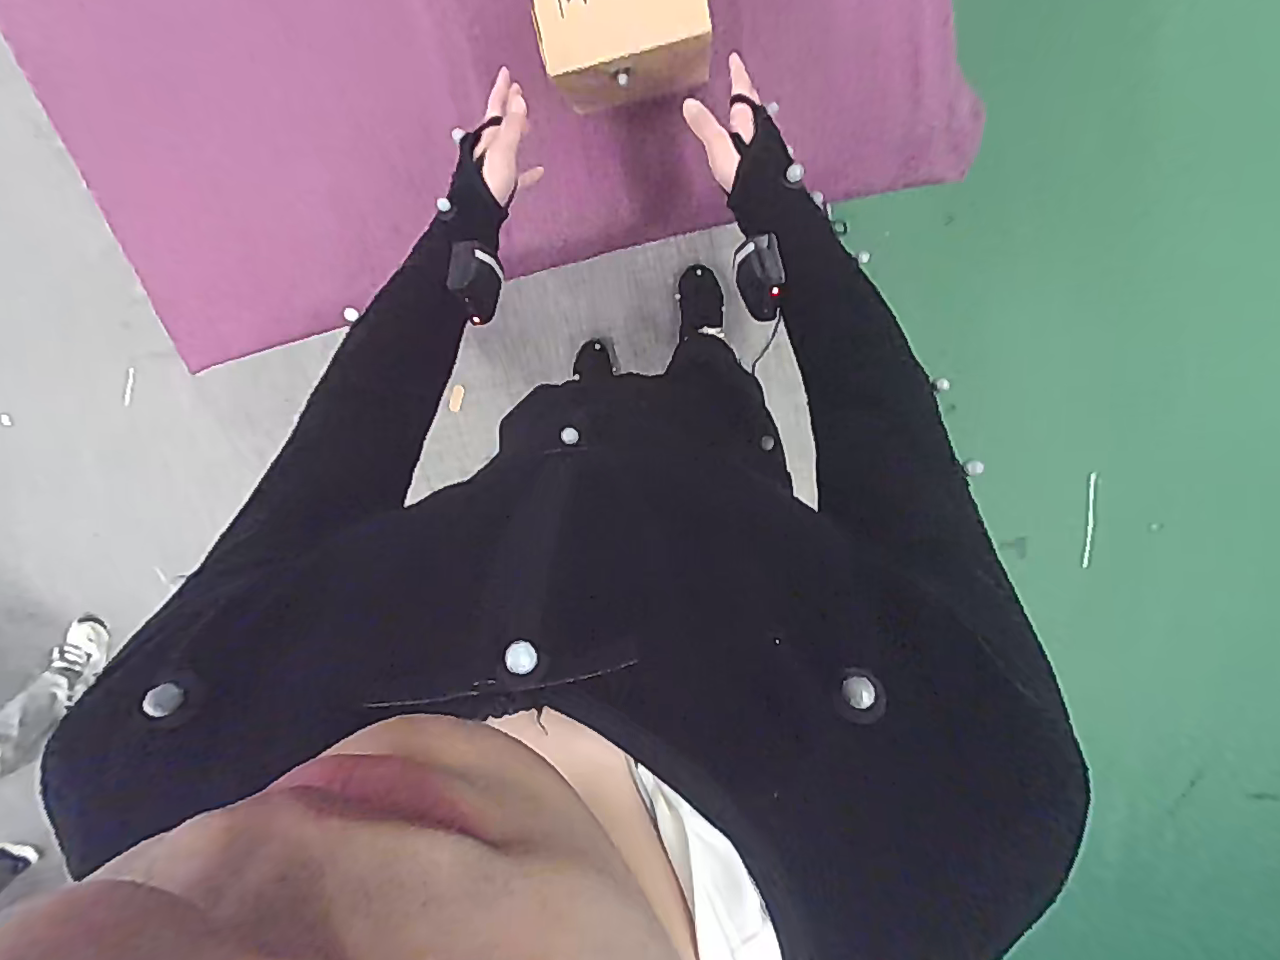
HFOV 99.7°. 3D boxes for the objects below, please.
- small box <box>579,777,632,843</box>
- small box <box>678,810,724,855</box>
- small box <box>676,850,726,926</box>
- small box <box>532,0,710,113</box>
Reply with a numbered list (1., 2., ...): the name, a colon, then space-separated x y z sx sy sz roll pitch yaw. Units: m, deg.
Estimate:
1. small box: -0.130 1.313 2.151 0.179 0.176 0.168 -9 111 9
2. small box: 0.248 1.458 2.170 0.179 0.176 0.168 -2 112 7
3. small box: 0.229 1.515 2.016 0.179 0.176 0.168 -3 113 7
4. small box: -0.020 -0.539 0.603 0.179 0.176 0.168 -9 111 9
